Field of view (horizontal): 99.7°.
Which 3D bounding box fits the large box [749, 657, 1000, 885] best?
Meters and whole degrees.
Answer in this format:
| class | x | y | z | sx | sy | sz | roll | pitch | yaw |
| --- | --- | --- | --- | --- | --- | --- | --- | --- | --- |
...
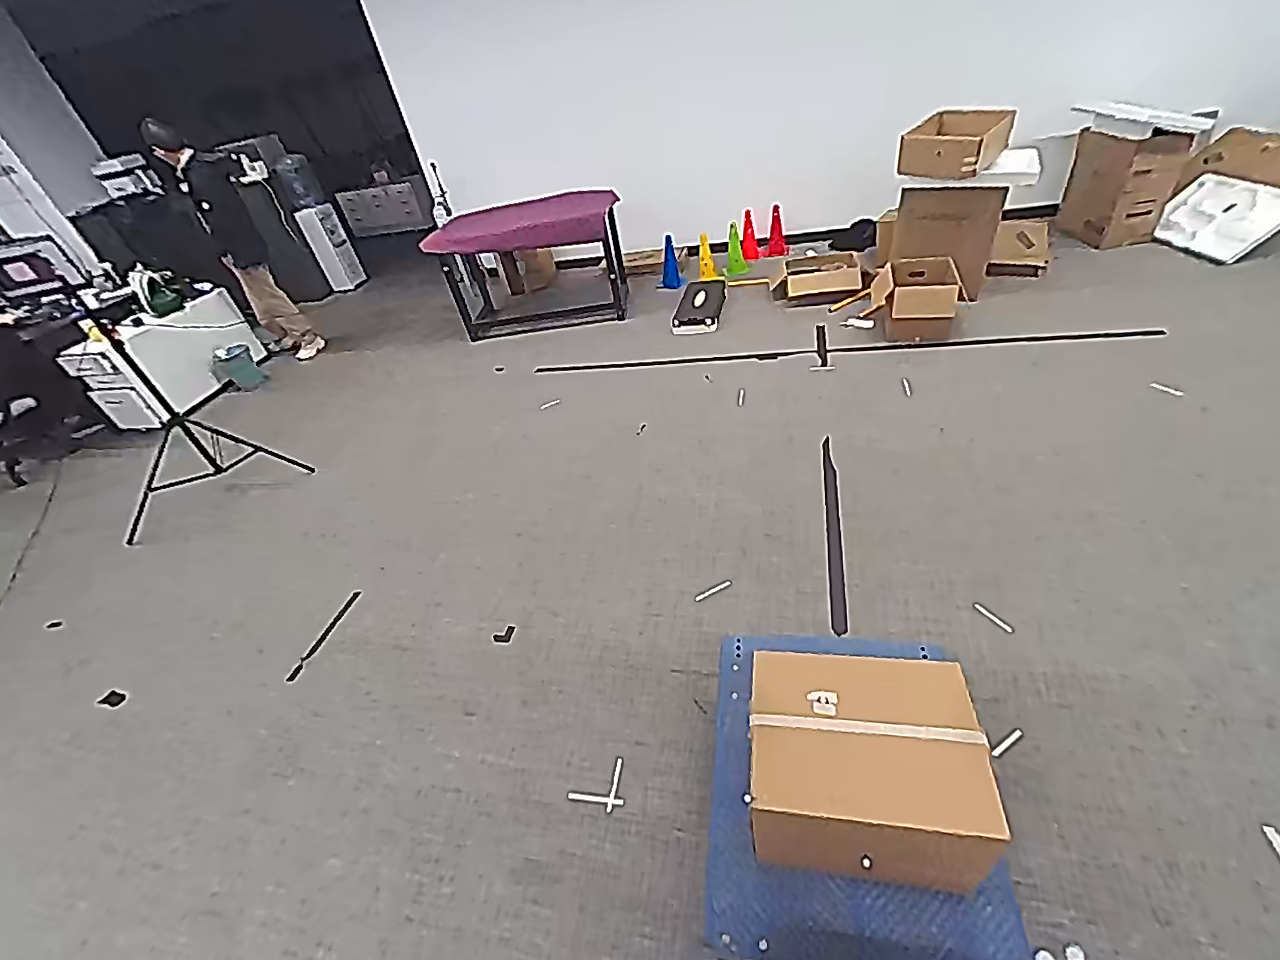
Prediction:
| class | x | y | z | sx | sy | sz | roll | pitch | yaw |
| --- | --- | --- | --- | --- | --- | --- | --- | --- | --- |
| large box | 0.439 | 0.589 | 1.113 | 0.408 | 0.320 | 0.320 | -2 | 39 | 14 |
